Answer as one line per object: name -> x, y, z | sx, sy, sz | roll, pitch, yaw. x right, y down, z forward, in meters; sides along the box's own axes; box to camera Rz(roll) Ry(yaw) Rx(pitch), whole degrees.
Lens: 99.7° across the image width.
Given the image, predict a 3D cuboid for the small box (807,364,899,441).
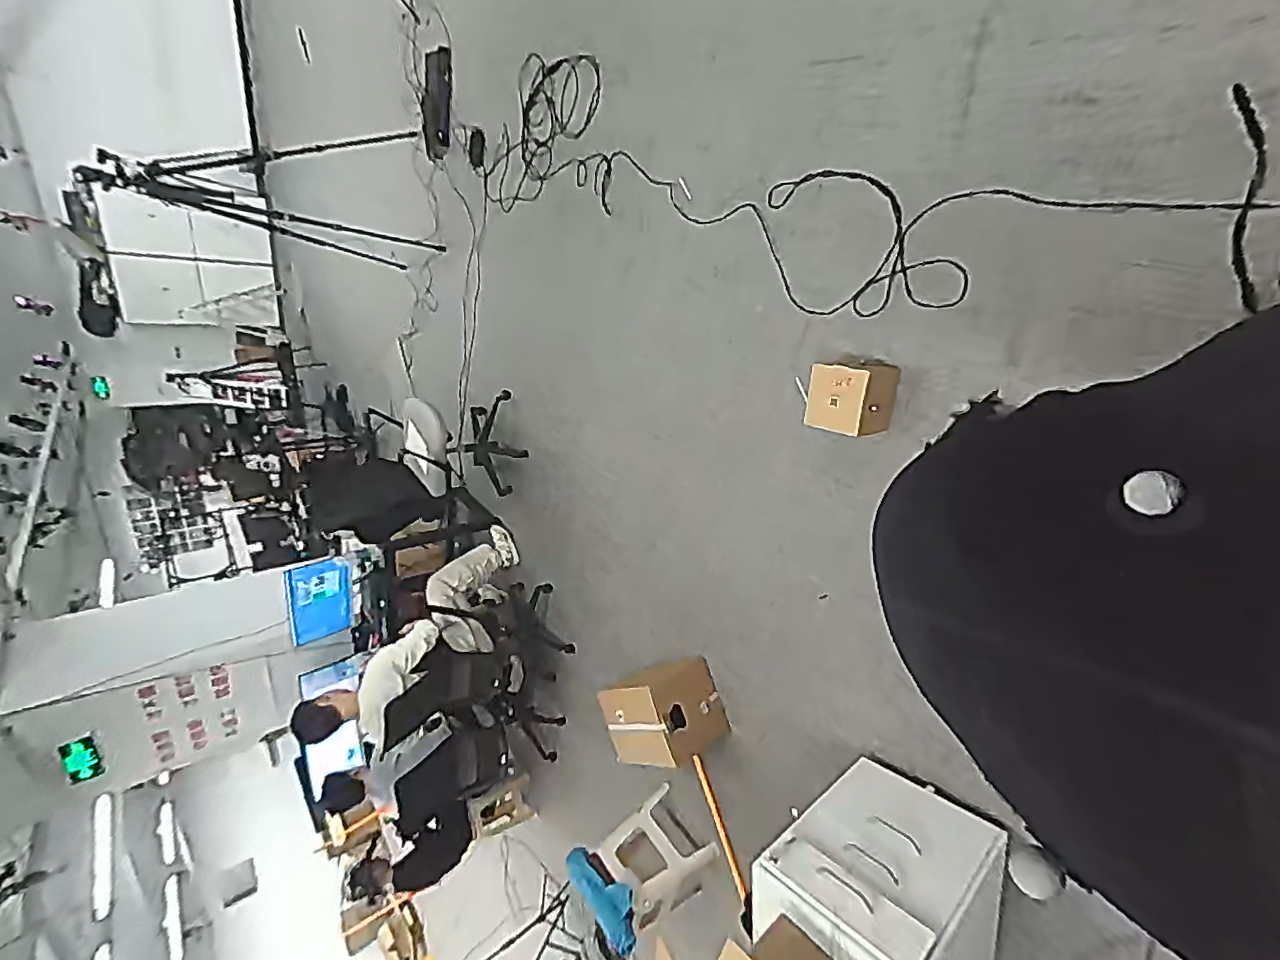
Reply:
small box -> 0.587, -0.219, 1.488 | 0.168, 0.176, 0.179 | 23, 116, 45
